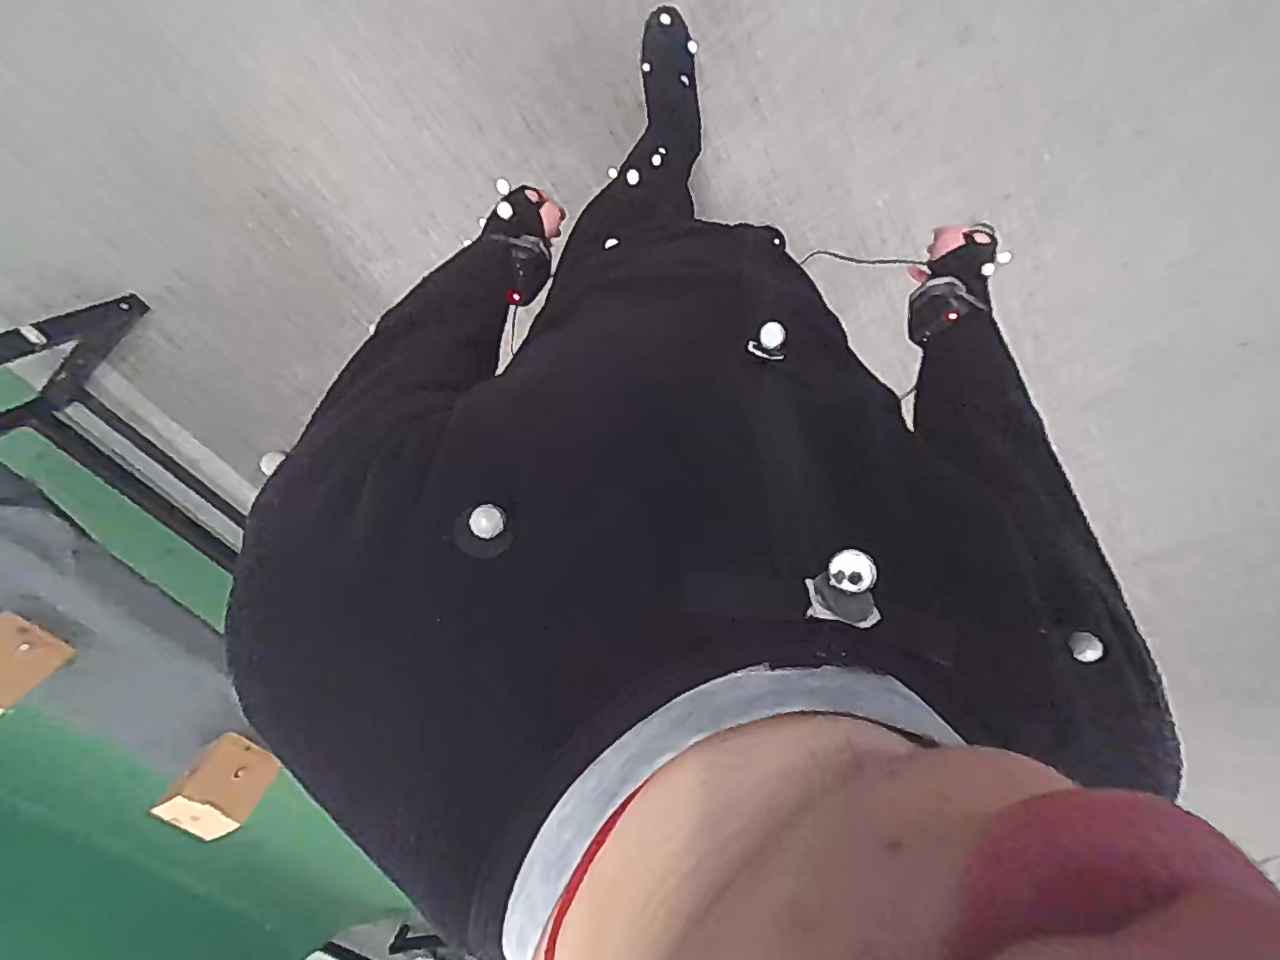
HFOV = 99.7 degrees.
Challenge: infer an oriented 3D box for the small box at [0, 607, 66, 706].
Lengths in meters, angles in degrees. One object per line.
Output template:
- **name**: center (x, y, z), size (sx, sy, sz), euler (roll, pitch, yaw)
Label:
- **small box**: center (-1.473, 0.419, 1.213), size (0.179, 0.176, 0.168), euler (-29, 116, 20)

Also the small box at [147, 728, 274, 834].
- **small box**: center (-1.109, 0.783, 1.415), size (0.179, 0.176, 0.168), euler (-31, 115, 22)
